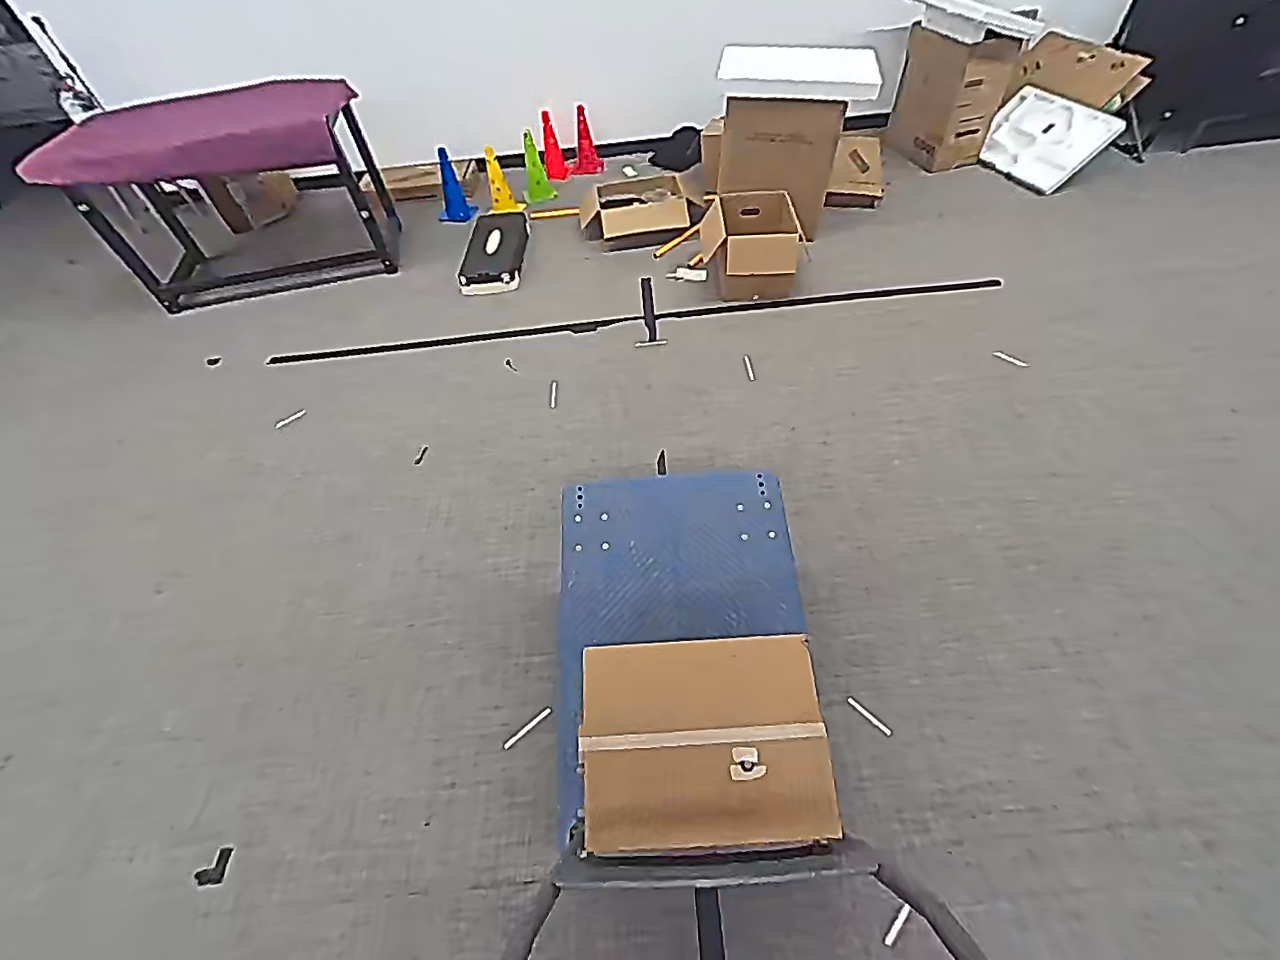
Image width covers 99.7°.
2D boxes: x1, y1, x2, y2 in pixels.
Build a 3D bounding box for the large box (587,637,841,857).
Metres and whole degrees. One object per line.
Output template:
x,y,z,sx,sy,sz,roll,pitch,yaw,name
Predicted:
0.116,0.504,1.053,0.408,0.320,0.320,-4,66,0,large box
